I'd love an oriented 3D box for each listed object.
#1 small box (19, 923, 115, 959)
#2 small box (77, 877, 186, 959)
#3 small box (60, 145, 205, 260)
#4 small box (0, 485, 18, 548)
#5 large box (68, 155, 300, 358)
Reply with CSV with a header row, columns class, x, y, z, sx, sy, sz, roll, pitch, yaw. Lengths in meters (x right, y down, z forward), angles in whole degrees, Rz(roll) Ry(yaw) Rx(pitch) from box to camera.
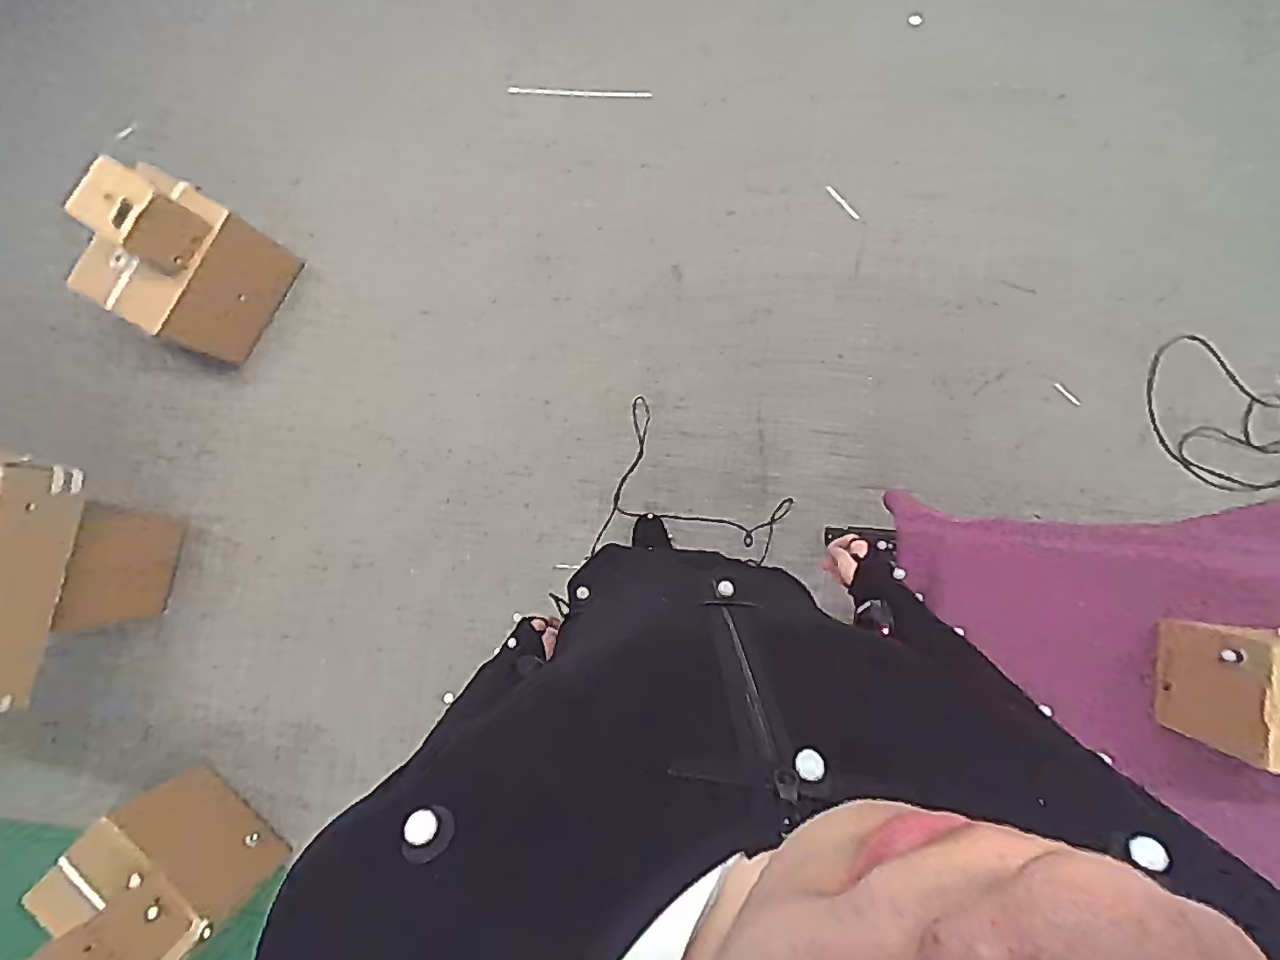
class,x,y,z,sx,sy,sz,roll,pitch,yaw
small box,-1.237,1.080,1.103,0.168,0.176,0.179,40,89,5
small box,-1.236,1.099,1.266,0.168,0.176,0.179,41,88,4
small box,-1.269,-0.687,1.367,0.179,0.176,0.168,33,89,3
small box,-1.621,0.076,1.239,0.179,0.176,0.168,14,88,2
large box,-1.329,-0.641,1.615,0.320,0.320,0.408,29,90,5
